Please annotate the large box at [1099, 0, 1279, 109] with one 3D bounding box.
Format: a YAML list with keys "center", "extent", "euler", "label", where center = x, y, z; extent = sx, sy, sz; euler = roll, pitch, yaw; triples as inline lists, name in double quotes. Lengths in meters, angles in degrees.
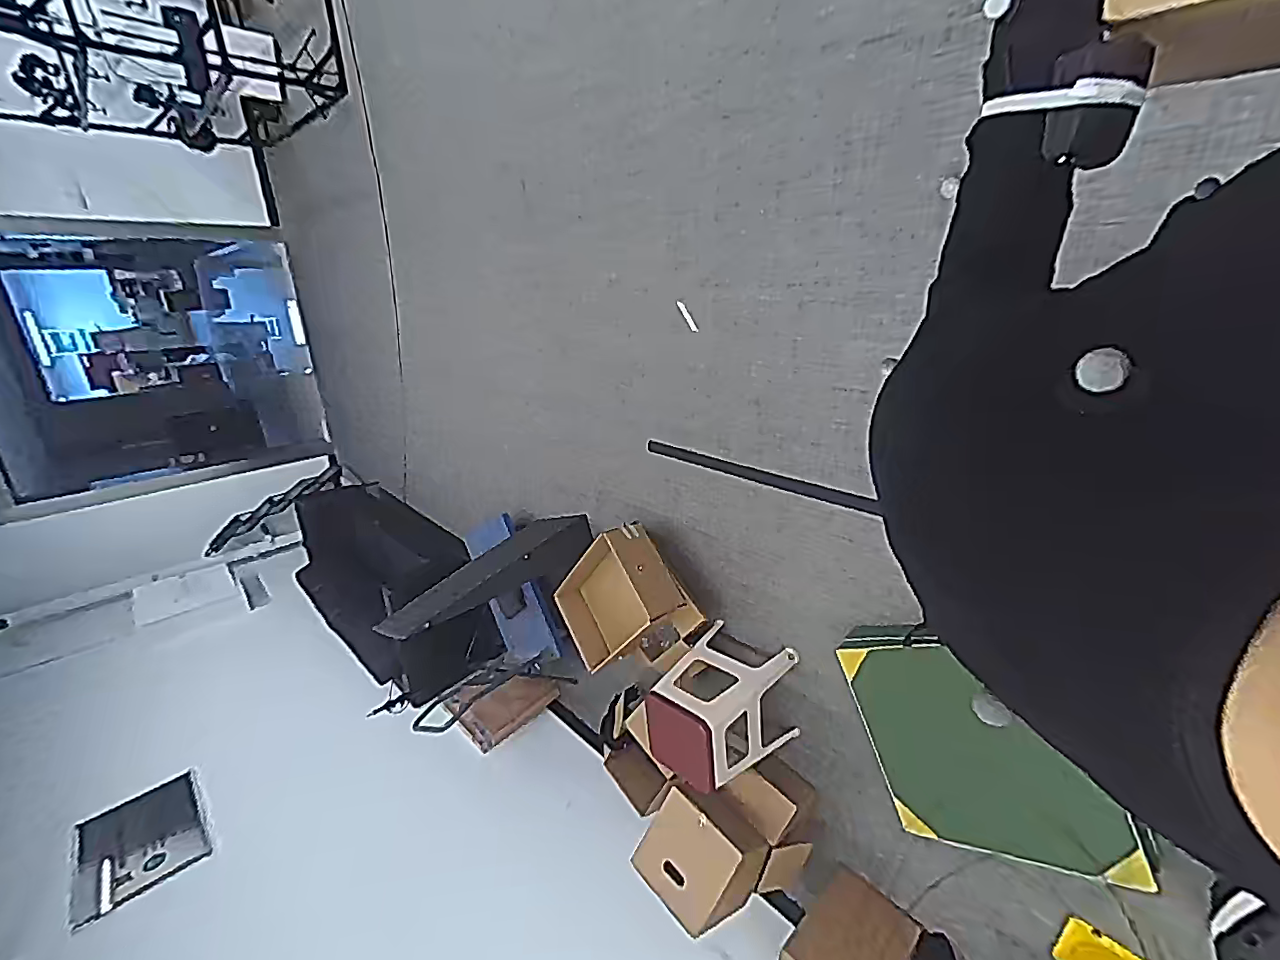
- center: [0.530, -0.426, 0.270]
  extent: [0.408, 0.320, 0.320]
  euler: [16, 121, 38]
  label: "large box"
